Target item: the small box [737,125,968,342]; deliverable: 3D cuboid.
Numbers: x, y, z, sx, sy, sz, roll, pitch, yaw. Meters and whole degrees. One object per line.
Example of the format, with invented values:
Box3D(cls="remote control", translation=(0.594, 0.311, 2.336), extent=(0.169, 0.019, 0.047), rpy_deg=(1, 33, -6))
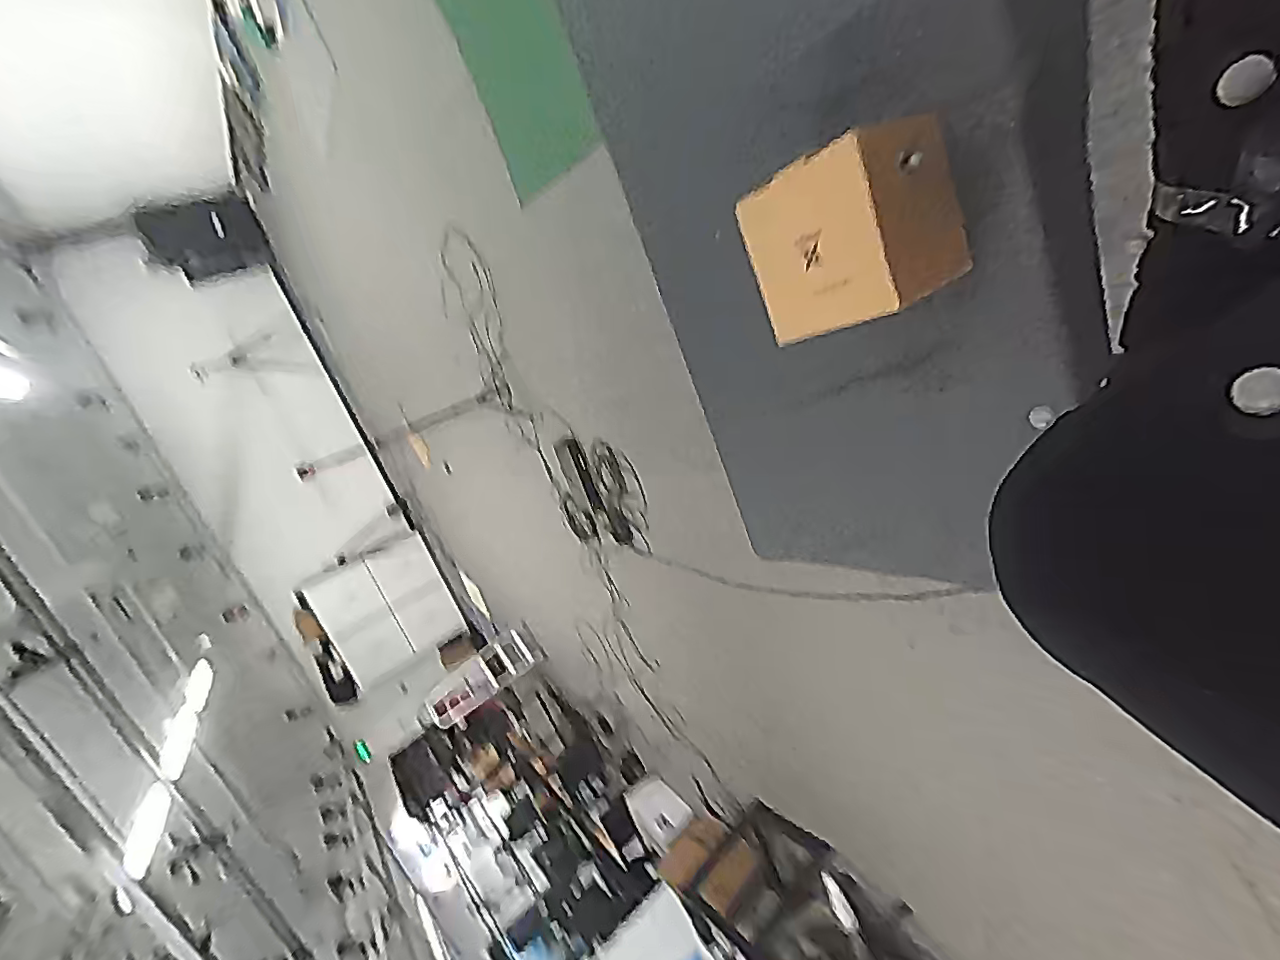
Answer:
Box3D(cls="small box", translation=(0.254, -0.291, 0.644), extent=(0.168, 0.176, 0.179), rpy_deg=(-2, 117, 58))
